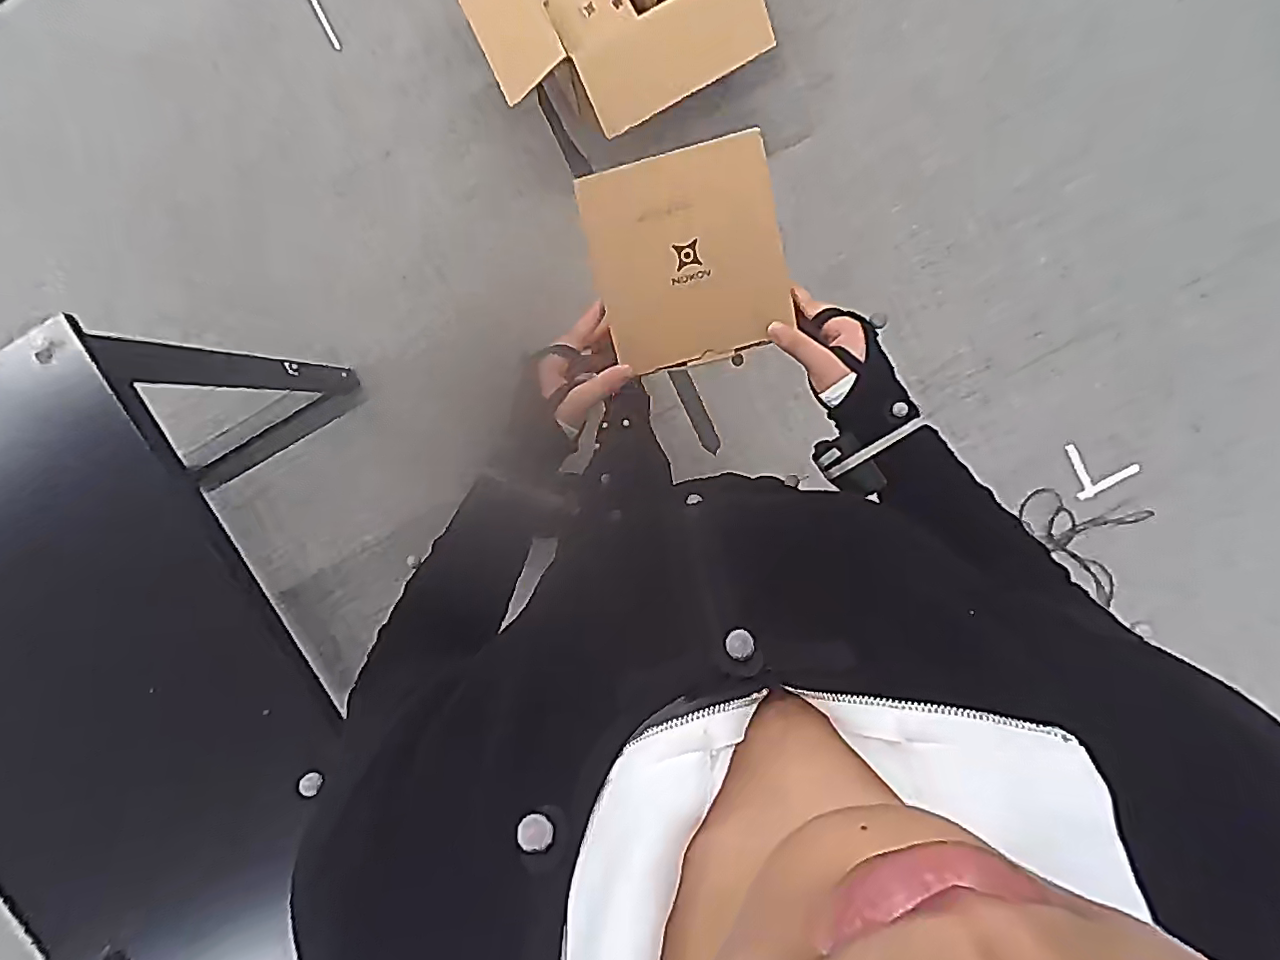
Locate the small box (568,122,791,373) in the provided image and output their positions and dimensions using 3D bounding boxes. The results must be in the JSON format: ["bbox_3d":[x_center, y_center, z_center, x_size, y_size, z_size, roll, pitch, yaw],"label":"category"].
[{"bbox_3d":[0.039,-0.215,0.550,0.168,0.176,0.179,-15,101,3],"label":"small box"}]
